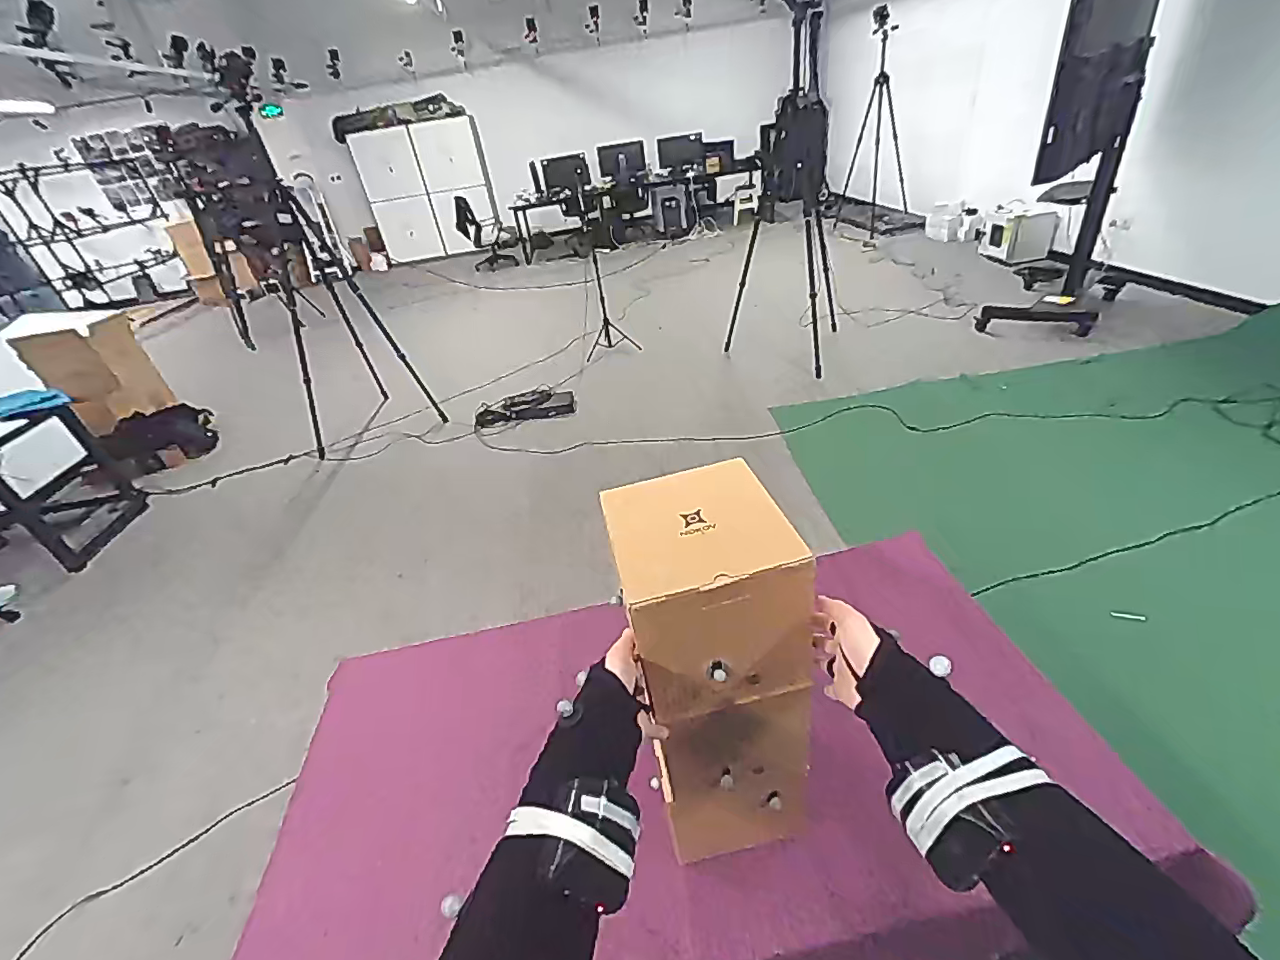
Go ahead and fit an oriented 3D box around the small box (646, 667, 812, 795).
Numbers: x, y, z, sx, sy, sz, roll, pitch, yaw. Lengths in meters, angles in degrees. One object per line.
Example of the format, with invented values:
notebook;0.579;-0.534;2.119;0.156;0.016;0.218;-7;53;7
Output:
small box;0.093;0.240;0.656;0.168;0.176;0.179;-13;35;-3

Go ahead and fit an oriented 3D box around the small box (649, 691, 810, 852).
small box;0.117;0.375;0.746;0.179;0.176;0.168;-12;34;-3

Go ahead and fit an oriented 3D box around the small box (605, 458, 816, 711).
small box;0.067;0.105;0.570;0.168;0.176;0.179;-14;35;-5
